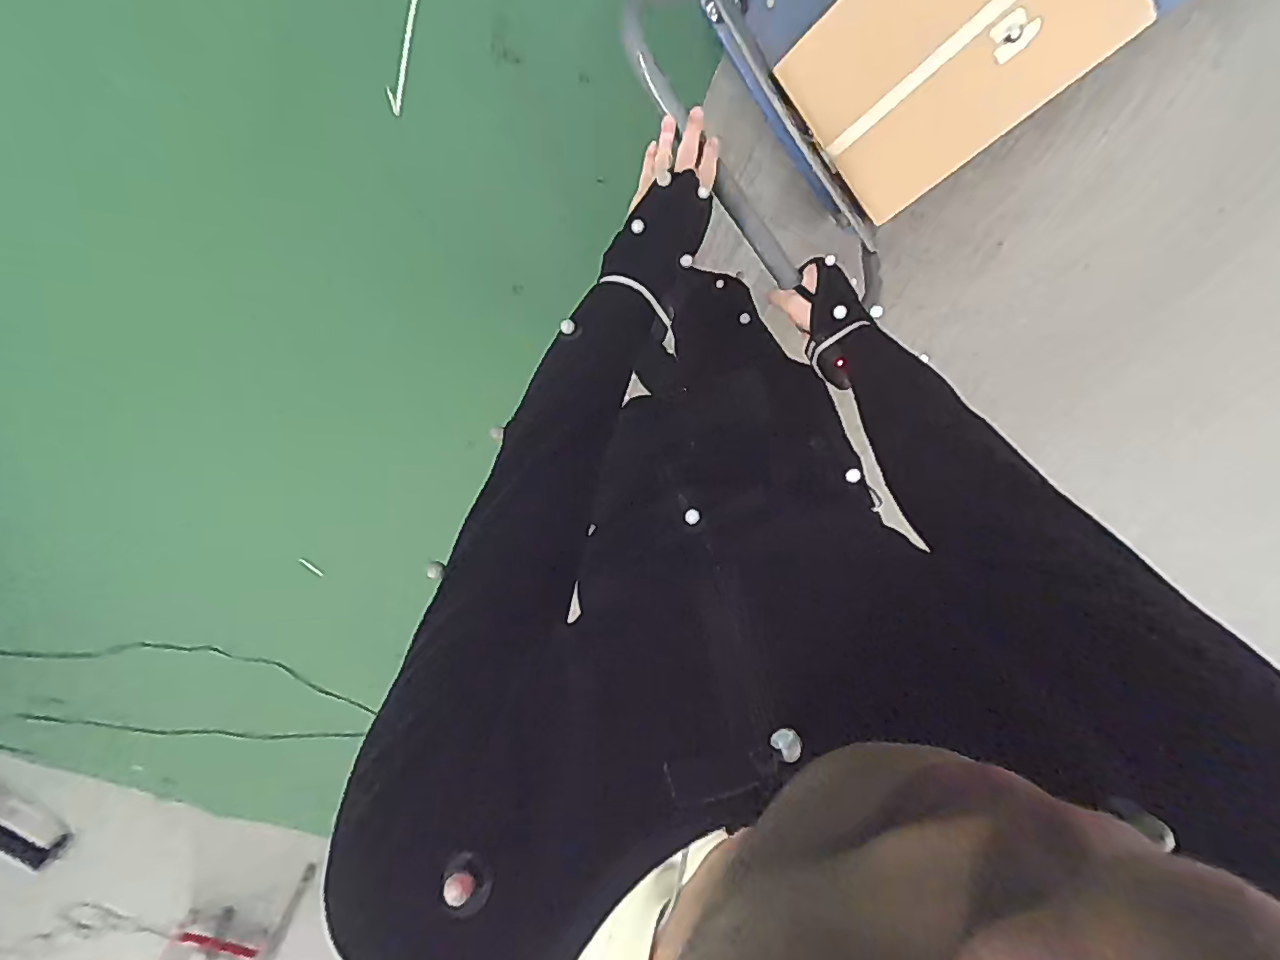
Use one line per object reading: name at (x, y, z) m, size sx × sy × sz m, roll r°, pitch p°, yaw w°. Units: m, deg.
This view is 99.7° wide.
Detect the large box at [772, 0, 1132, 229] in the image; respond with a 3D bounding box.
large box at (0.484, -0.726, 0.933) m, size 0.408 × 0.320 × 0.320 m, roll -32°, pitch 113°, yaw 33°
